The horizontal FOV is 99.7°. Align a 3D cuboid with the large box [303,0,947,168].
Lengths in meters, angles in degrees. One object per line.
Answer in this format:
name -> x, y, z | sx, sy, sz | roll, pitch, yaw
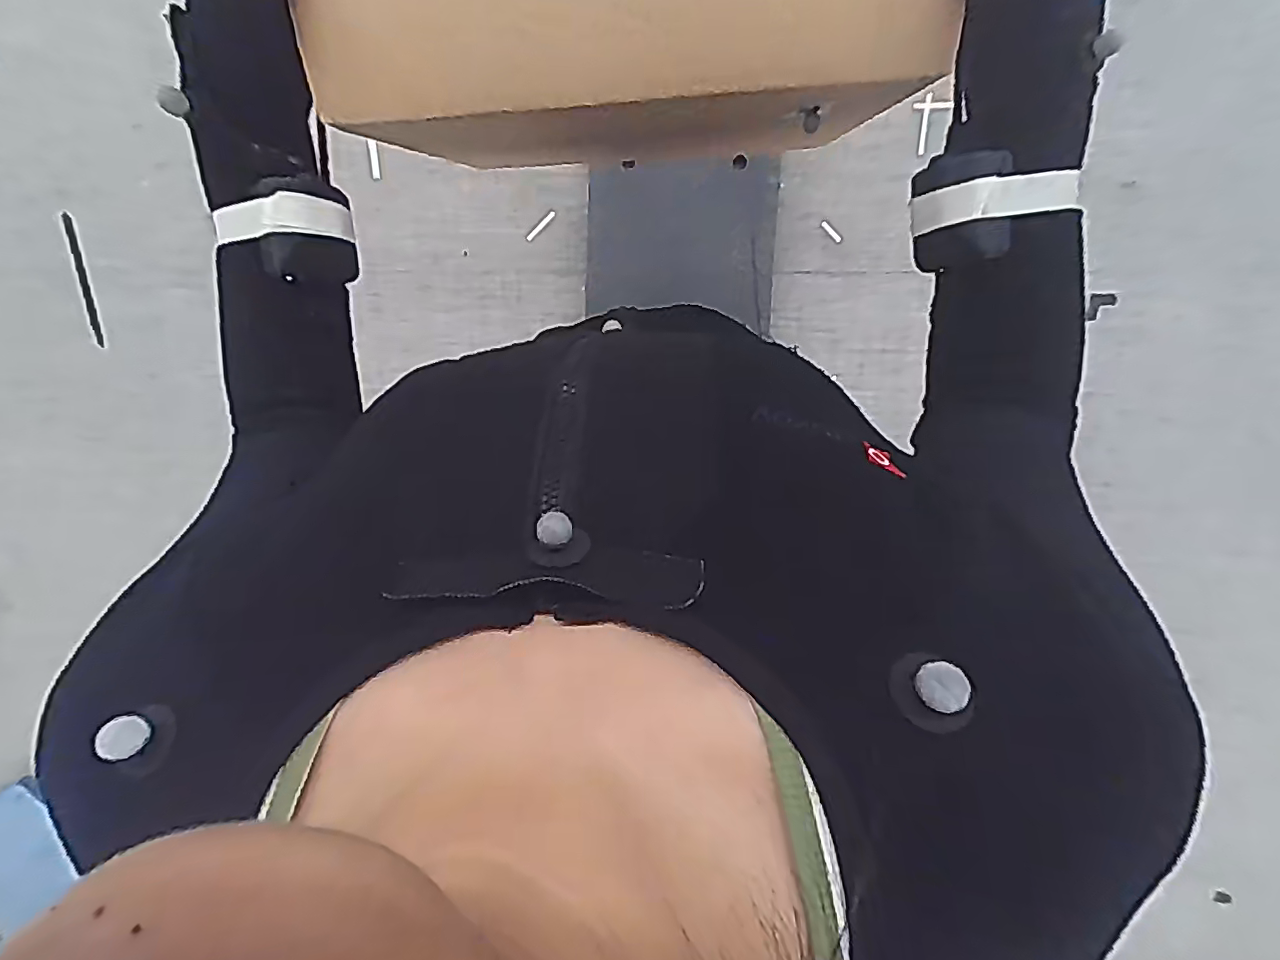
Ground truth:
large box -> -0.011, -0.447, 0.425 | 0.408, 0.320, 0.320 | -2, 114, 4
